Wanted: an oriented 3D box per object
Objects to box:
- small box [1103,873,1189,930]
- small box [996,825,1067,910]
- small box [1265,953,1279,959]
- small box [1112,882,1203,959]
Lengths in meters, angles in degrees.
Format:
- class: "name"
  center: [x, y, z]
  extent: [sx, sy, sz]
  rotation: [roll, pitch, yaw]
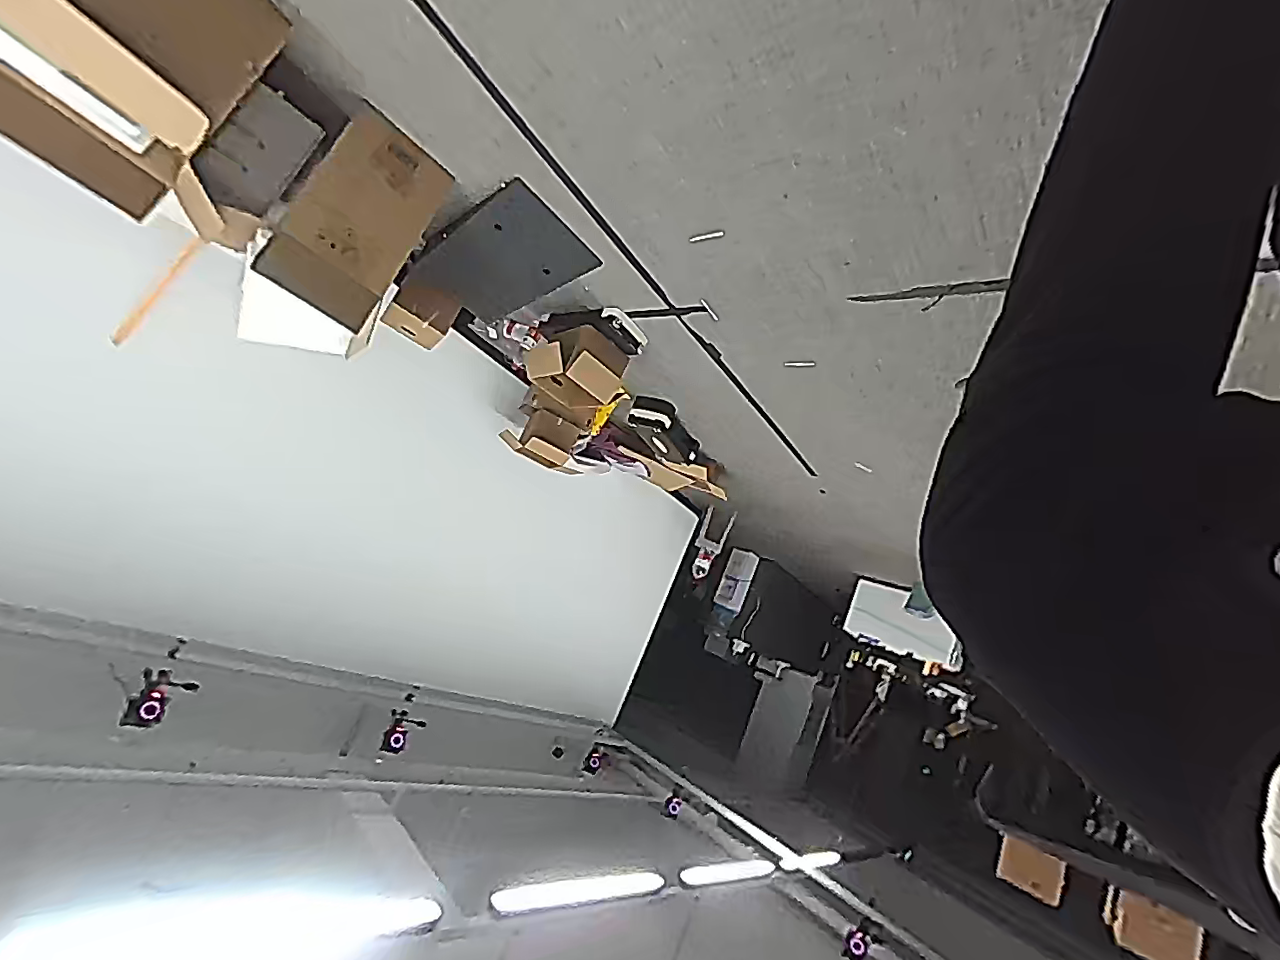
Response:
- class: "small box"
  center: [1.670, 1.443, 1.791]
  extent: [0.179, 0.176, 0.168]
  rotation: [13, 164, 41]
- class: "small box"
  center: [1.321, 1.297, 1.826]
  extent: [0.168, 0.176, 0.179]
  rotation: [12, 163, 40]
- class: "small box"
  center: [1.755, 1.387, 1.405]
  extent: [0.168, 0.176, 0.179]
  rotation: [13, 164, 42]
- class: "small box"
  center: [1.535, 1.339, 1.607]
  extent: [0.168, 0.176, 0.179]
  rotation: [12, 164, 41]
